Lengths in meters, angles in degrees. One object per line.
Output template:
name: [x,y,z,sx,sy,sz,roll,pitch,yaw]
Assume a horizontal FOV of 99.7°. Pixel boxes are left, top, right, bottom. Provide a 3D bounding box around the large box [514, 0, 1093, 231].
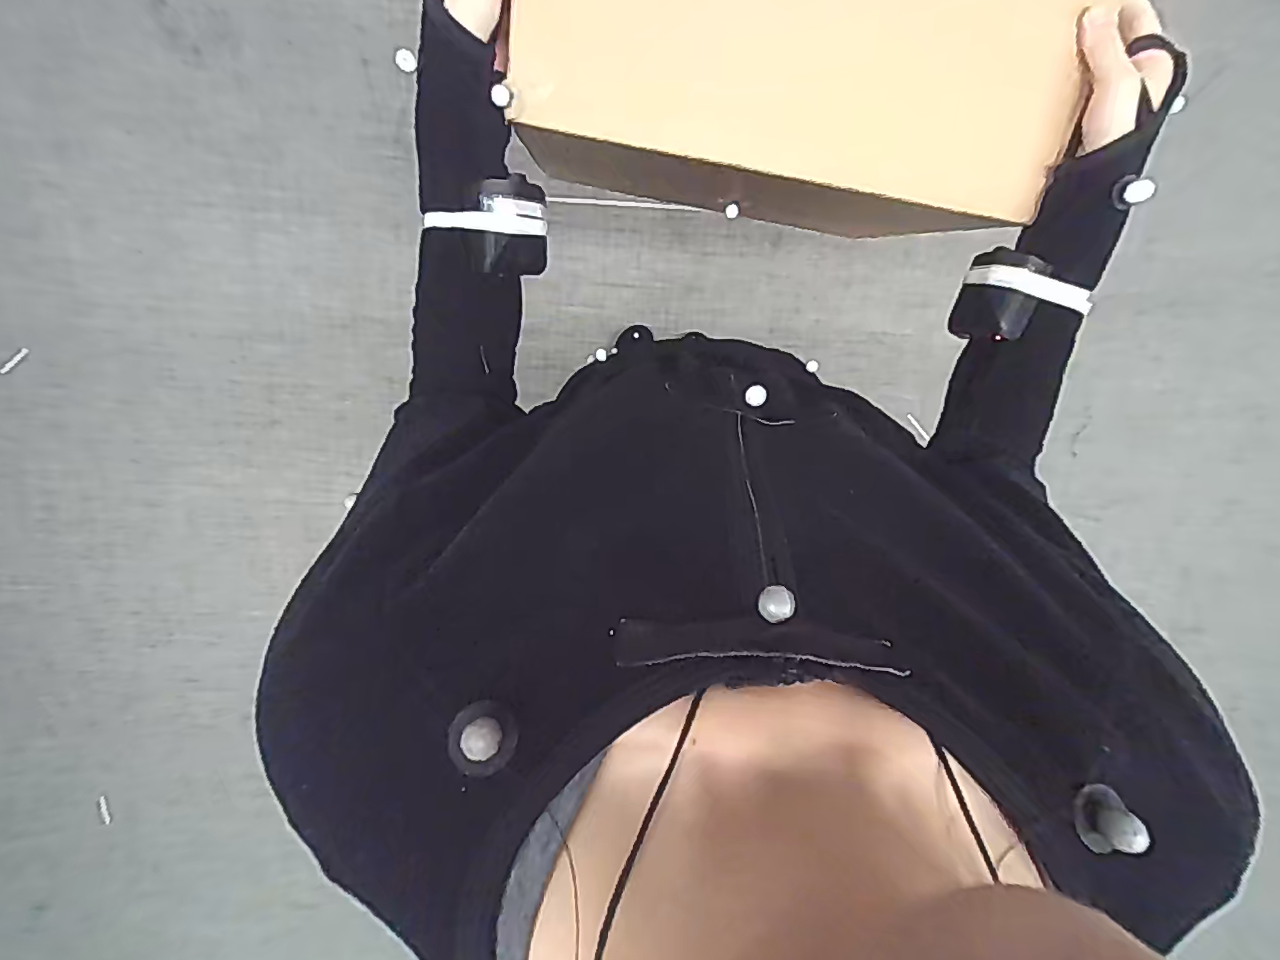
large box: [0.119,-0.425,0.493,0.408,0.320,0.320,7,111,-6]
